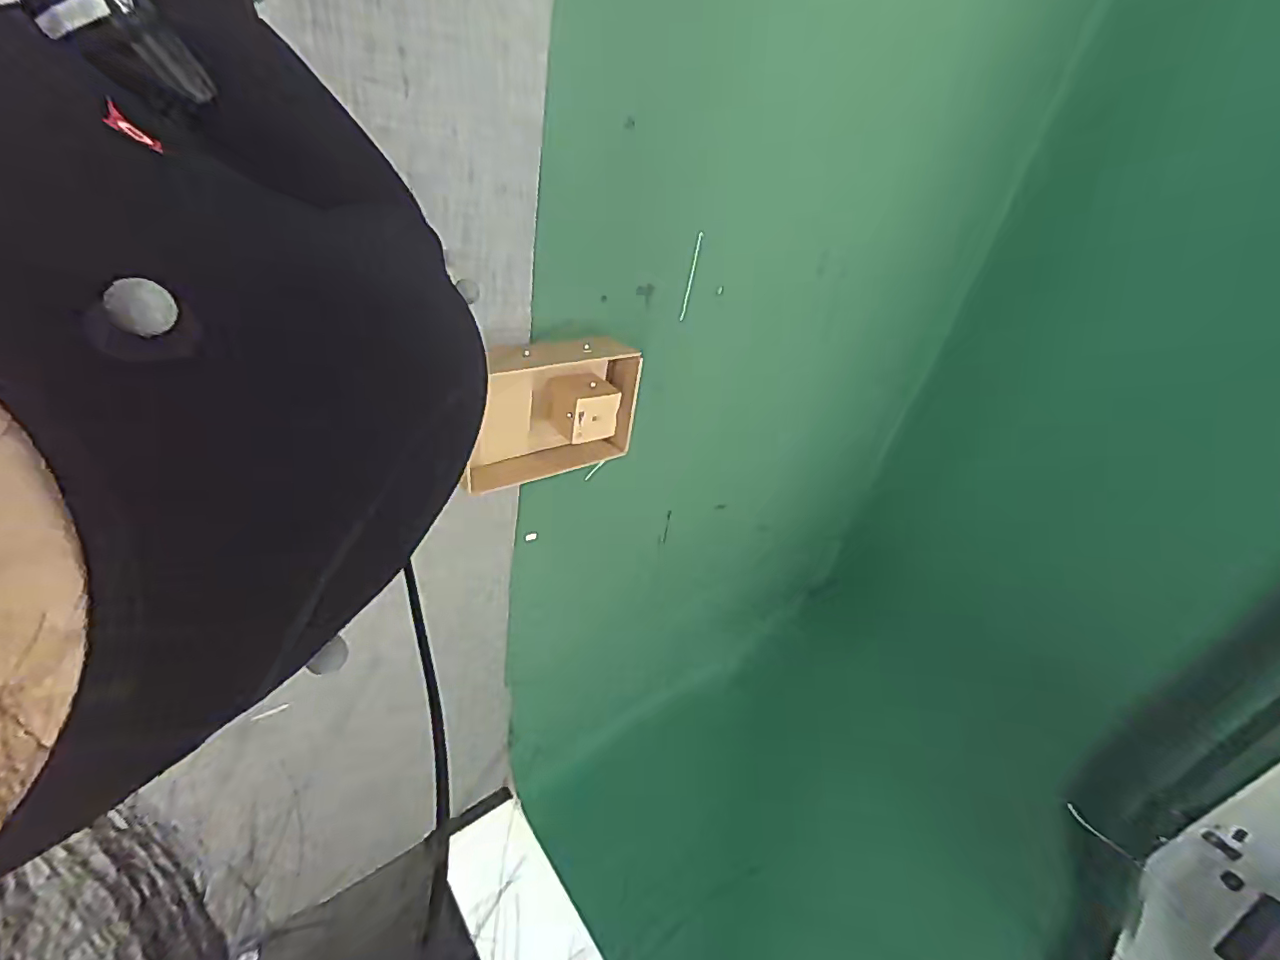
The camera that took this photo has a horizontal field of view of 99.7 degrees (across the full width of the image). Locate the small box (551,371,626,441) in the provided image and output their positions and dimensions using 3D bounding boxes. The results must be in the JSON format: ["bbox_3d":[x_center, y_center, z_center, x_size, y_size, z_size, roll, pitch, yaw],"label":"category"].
[{"bbox_3d":[-0.174,-0.255,1.812,0.179,0.176,0.168,-16,132,-35],"label":"small box"}]
